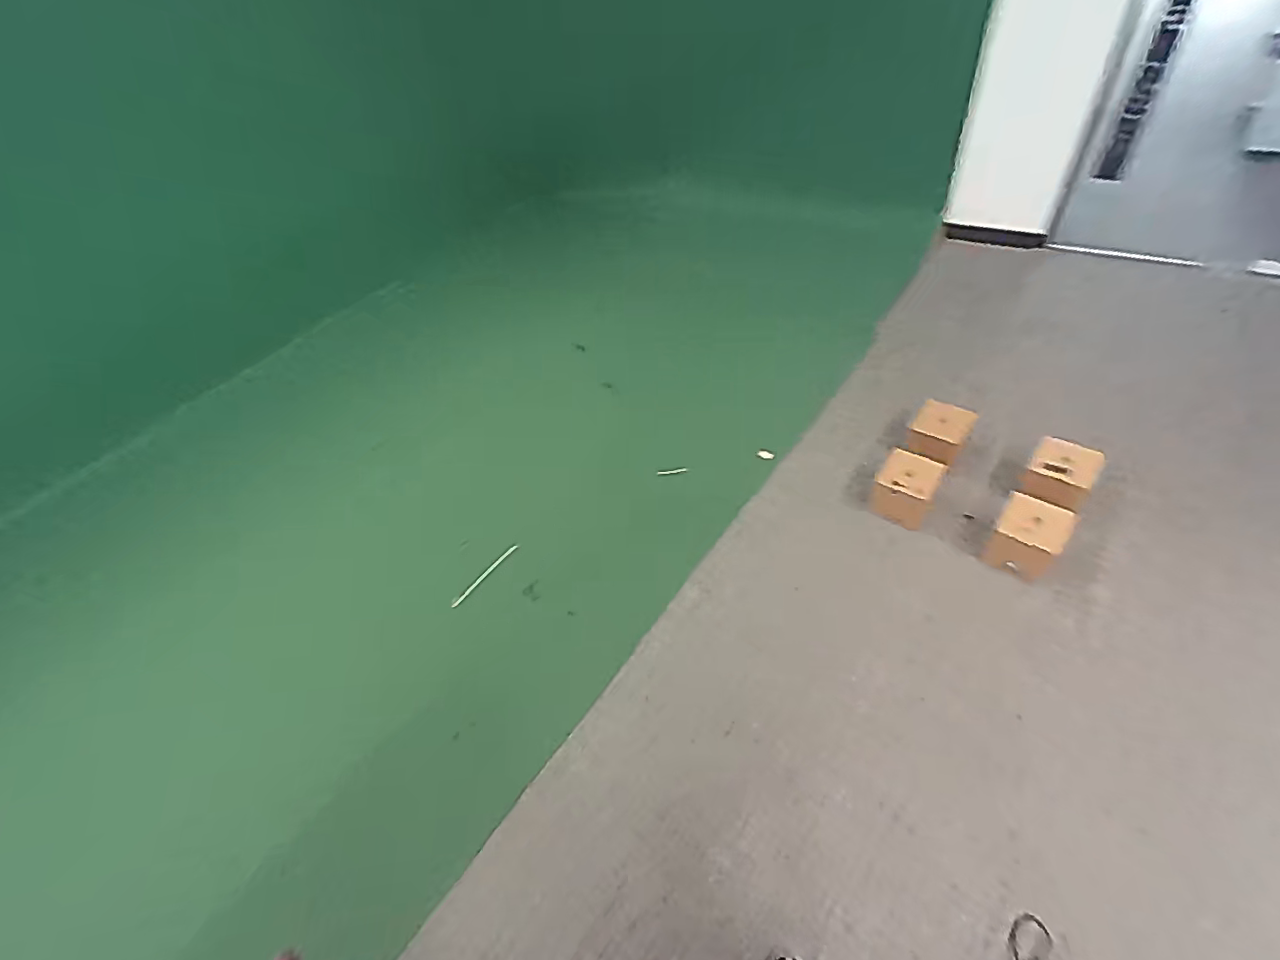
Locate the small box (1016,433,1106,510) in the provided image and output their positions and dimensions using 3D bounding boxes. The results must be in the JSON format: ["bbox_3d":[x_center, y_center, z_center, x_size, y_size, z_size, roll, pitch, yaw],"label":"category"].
[{"bbox_3d":[1.347,-0.015,1.741,0.168,0.176,0.179,28,61,32],"label":"small box"}]

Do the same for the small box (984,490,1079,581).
[{"bbox_3d":[1.171,0.167,1.628,0.168,0.176,0.179,27,61,33],"label":"small box"}]

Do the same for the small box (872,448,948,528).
[{"bbox_3d":[0.902,0.028,1.819,0.168,0.176,0.179,26,59,32],"label":"small box"}]
